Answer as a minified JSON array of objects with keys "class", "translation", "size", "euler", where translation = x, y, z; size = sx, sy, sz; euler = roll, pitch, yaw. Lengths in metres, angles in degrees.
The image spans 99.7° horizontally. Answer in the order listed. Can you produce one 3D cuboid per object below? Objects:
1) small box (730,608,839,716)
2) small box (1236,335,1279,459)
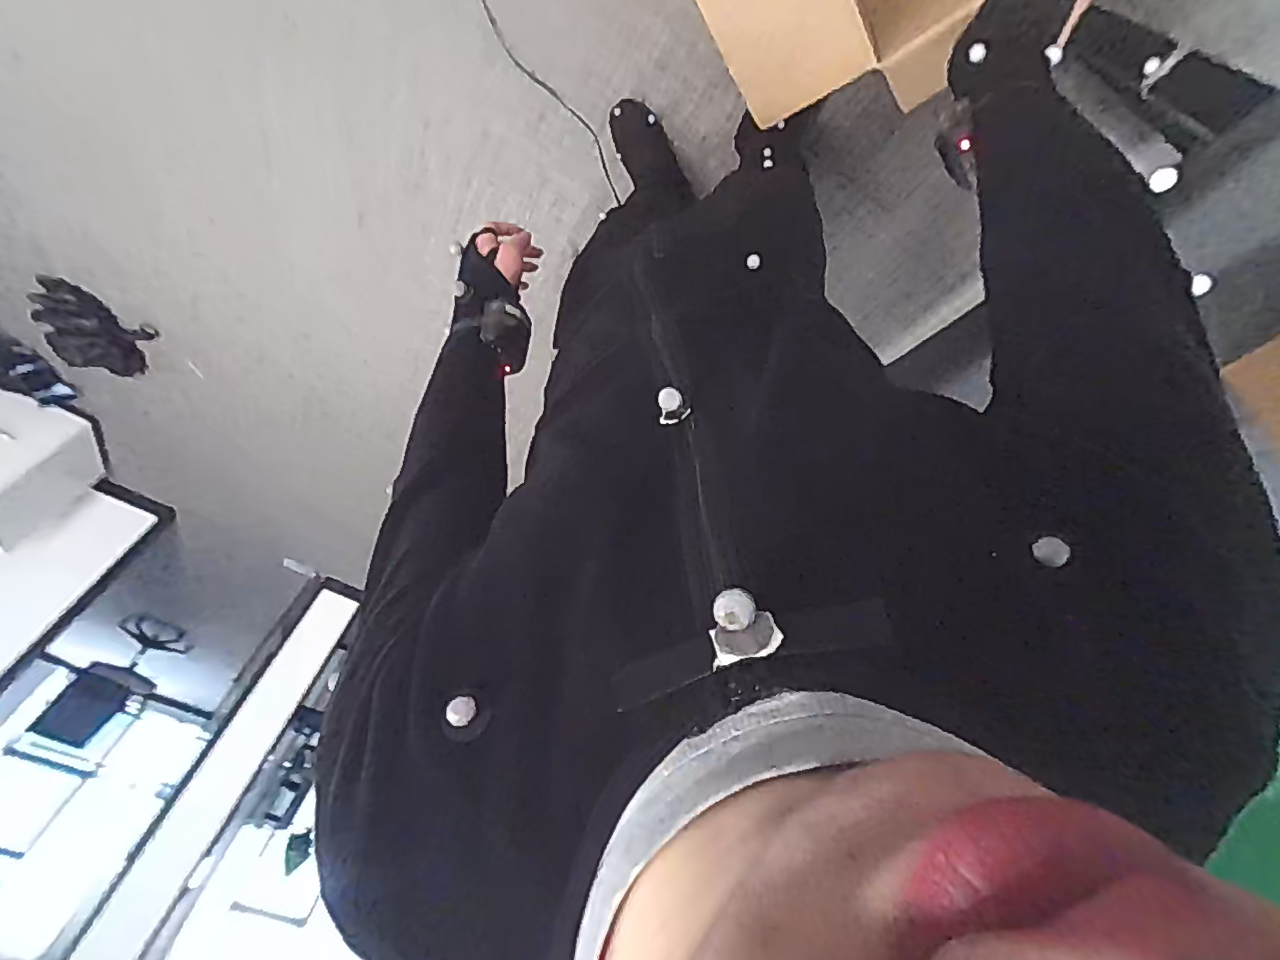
[{"class":"small box","translation":[0.329,0.415,1.236],"size":[0.168,0.176,0.179],"euler":[32,138,-17]},{"class":"small box","translation":[0.764,-0.081,0.535],"size":[0.168,0.176,0.179],"euler":[25,140,-11]}]
